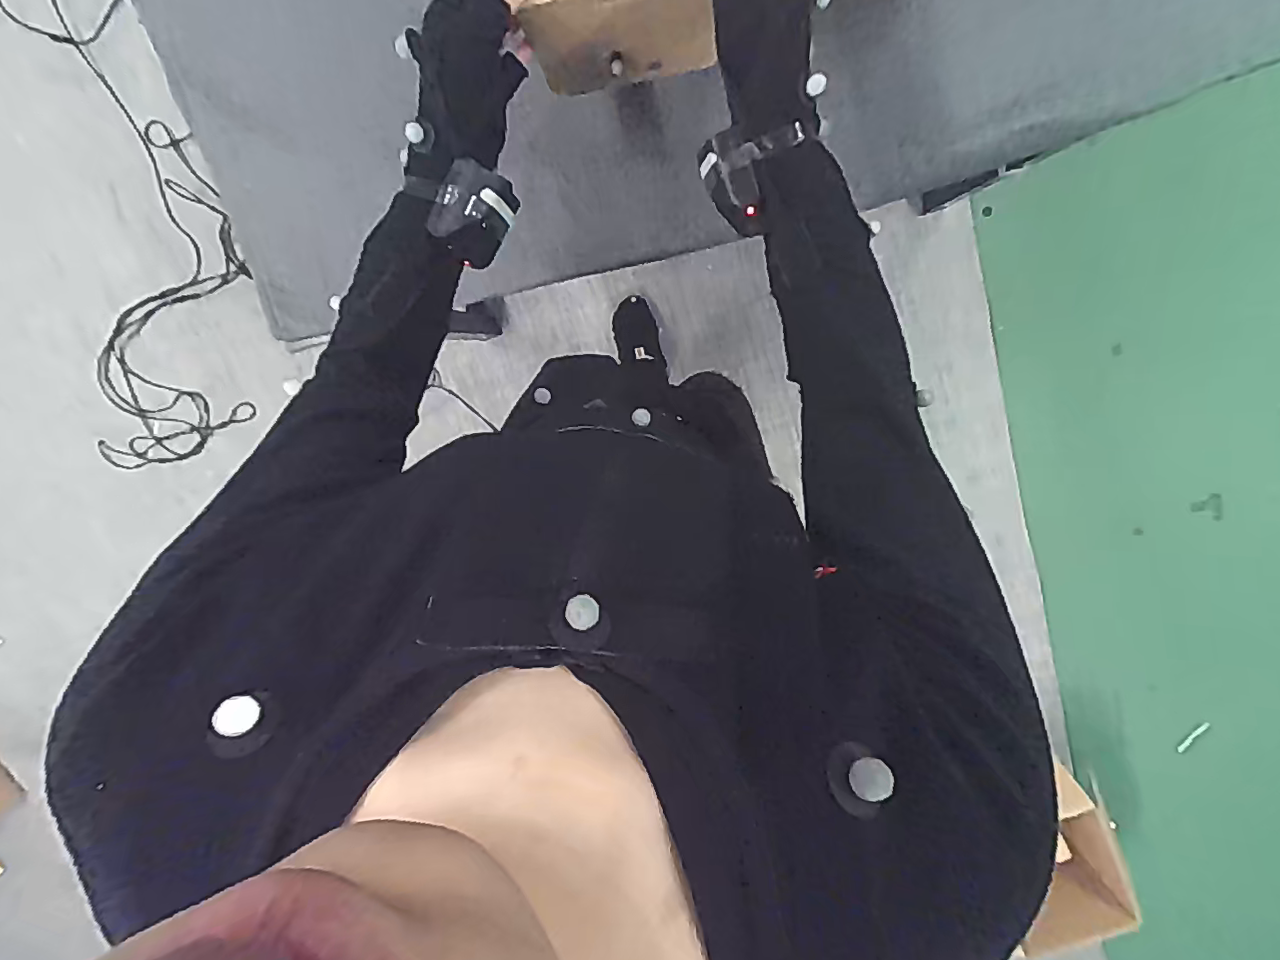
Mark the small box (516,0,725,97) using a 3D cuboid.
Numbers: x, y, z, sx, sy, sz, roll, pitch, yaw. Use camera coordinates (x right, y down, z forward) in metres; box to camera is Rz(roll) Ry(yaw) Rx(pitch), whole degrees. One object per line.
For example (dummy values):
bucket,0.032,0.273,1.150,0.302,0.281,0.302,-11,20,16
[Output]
small box,-0.025,-0.463,0.449,0.168,0.176,0.179,-9,105,5
